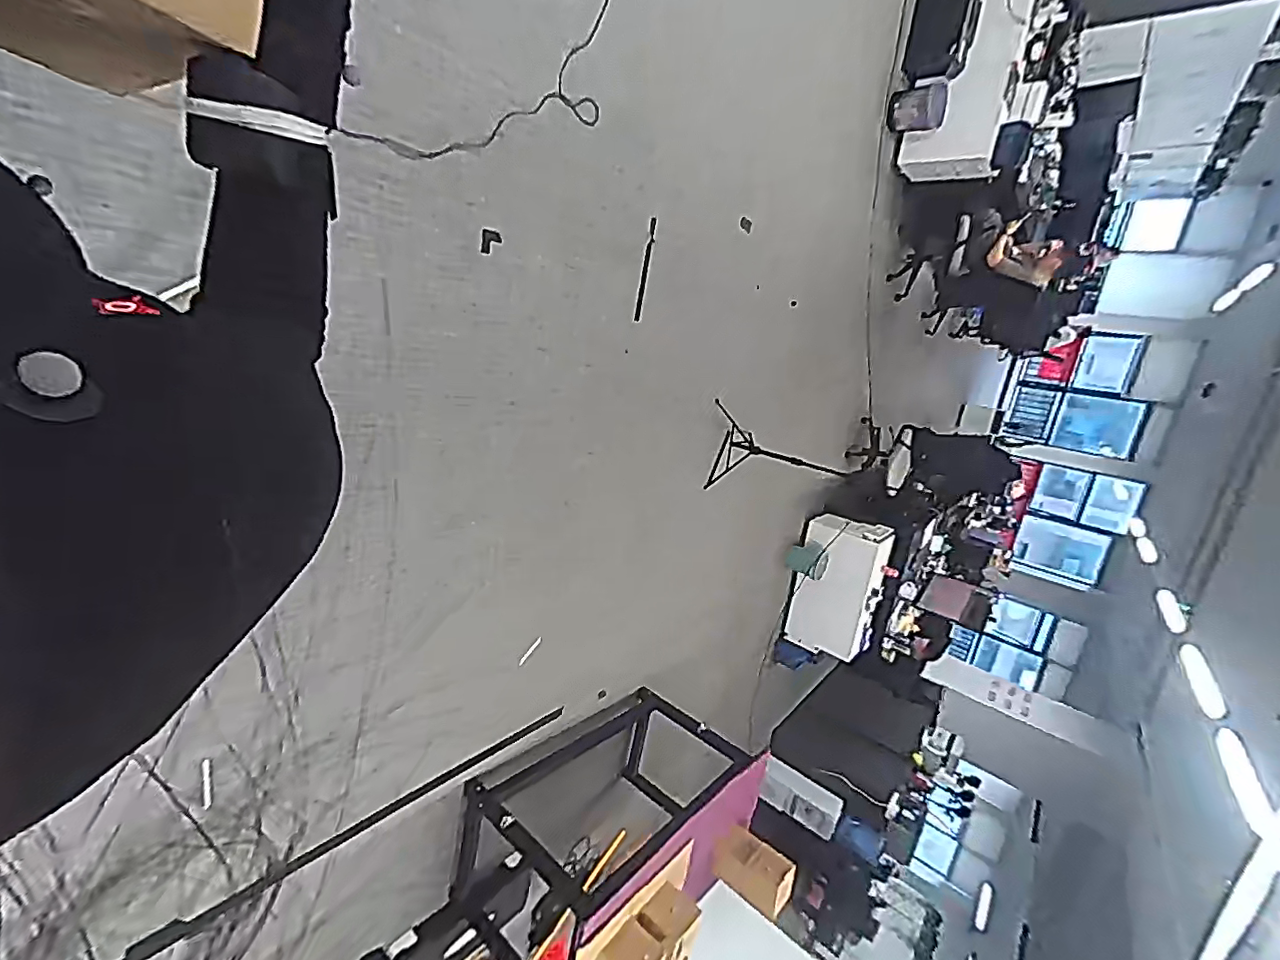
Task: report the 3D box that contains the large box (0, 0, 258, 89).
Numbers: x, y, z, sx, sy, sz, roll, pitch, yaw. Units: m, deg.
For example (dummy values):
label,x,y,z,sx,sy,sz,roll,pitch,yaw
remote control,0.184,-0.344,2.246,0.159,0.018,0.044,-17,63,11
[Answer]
label,x,y,z,sx,sy,sz,roll,pitch,yaw
large box,-0.442,-0.451,0.230,0.408,0.320,0.320,-1,110,-56
